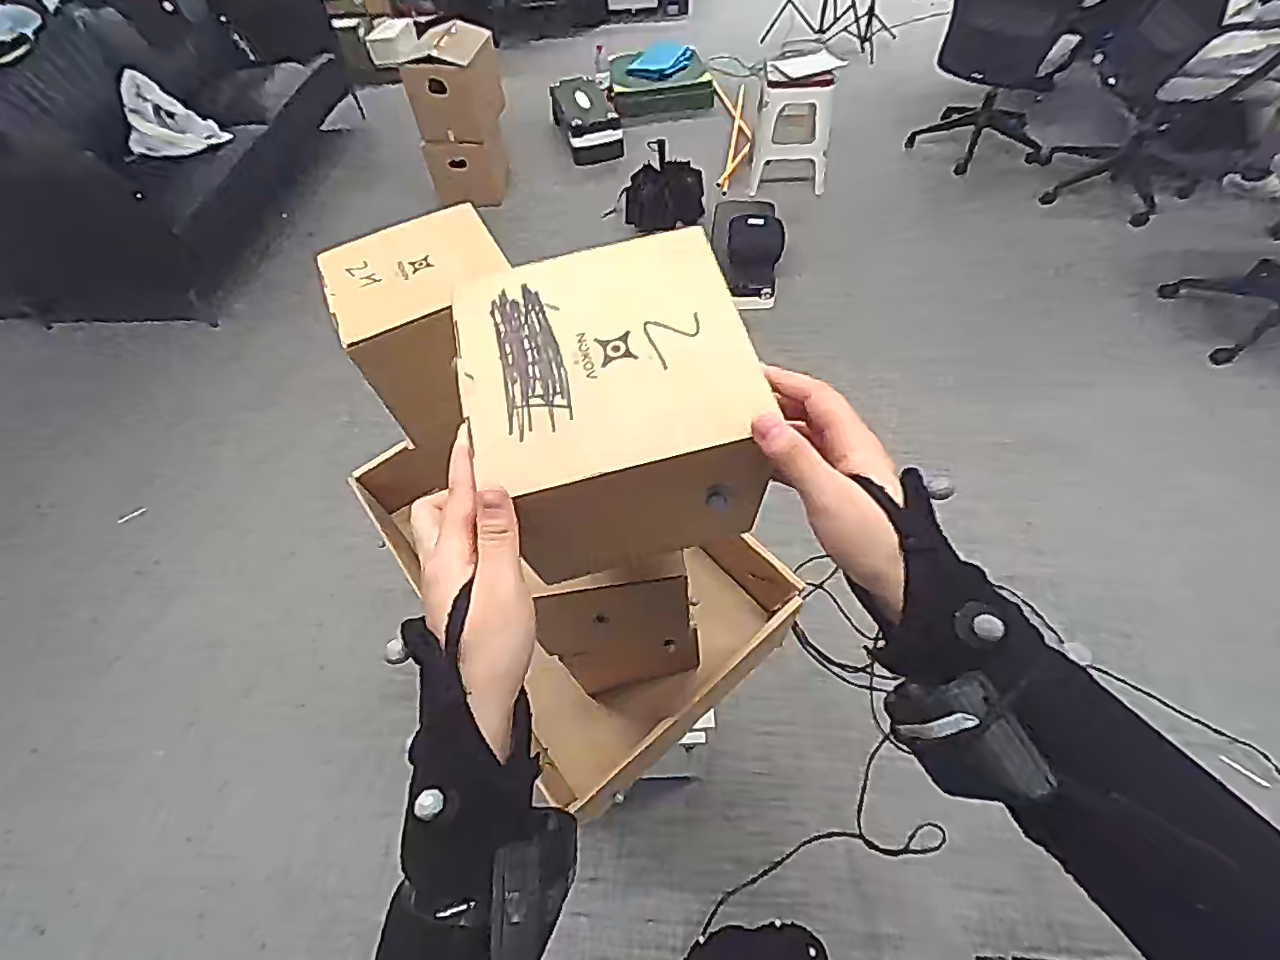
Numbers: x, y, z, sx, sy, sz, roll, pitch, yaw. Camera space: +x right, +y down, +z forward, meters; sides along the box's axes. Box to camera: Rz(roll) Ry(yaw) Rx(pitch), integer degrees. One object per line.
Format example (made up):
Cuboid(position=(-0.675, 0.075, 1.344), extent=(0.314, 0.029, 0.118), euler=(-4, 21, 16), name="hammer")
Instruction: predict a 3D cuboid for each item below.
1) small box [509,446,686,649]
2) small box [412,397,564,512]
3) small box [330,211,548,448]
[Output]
Cuboid(position=(-0.041, 0.085, 0.634), extent=(0.179, 0.176, 0.168), euler=(-9, 53, 2), name="small box")
Cuboid(position=(-0.220, -0.086, 0.771), extent=(0.168, 0.176, 0.179), euler=(-23, 58, -8), name="small box")
Cuboid(position=(-0.219, -0.170, 0.628), extent=(0.179, 0.176, 0.168), euler=(-26, 57, -10), name="small box")
